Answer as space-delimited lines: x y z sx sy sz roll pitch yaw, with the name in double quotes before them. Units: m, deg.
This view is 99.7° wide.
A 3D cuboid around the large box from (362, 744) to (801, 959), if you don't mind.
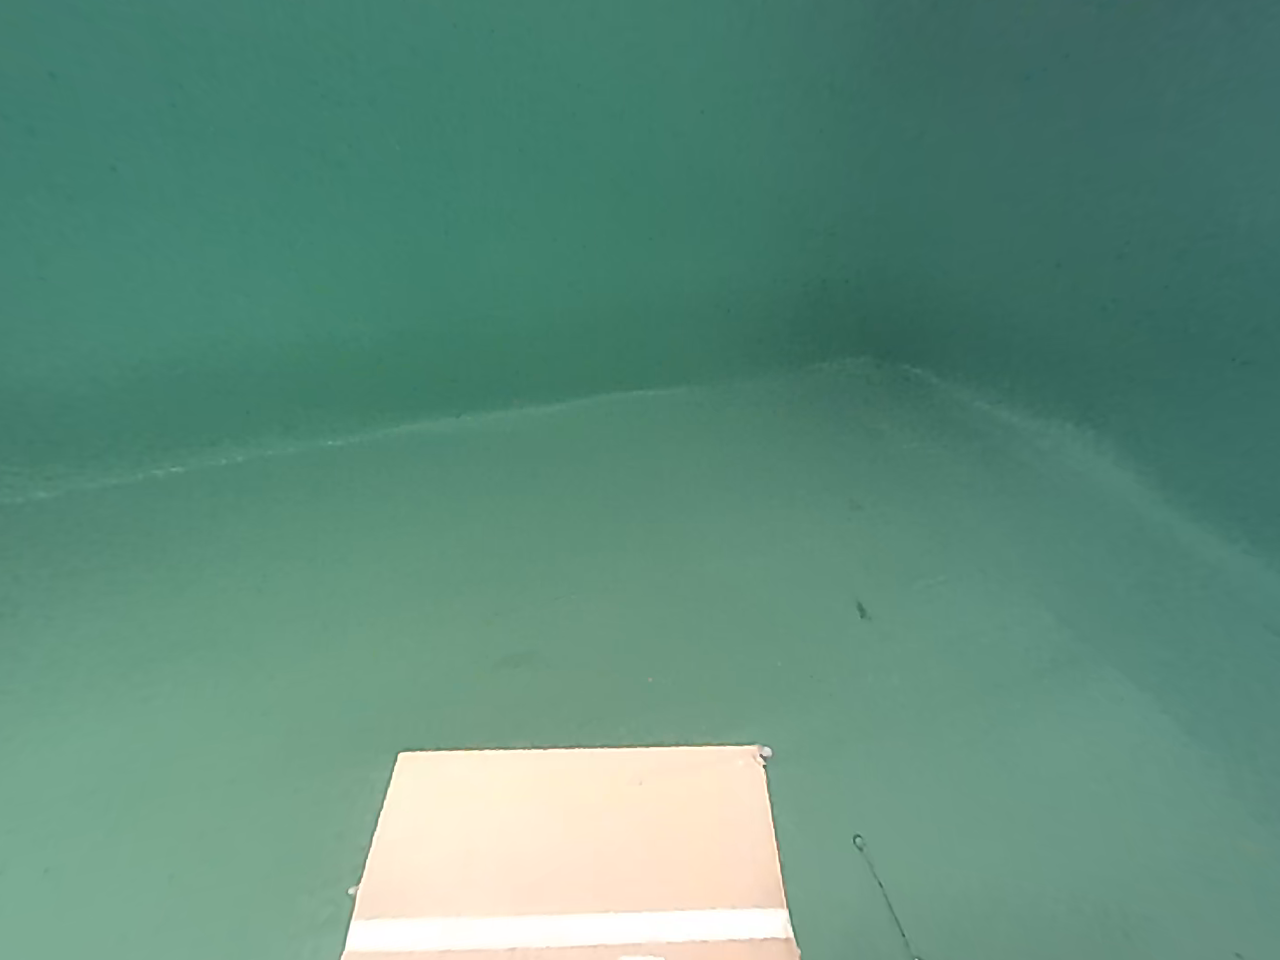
"large box" -0.055 0.520 0.609 0.408 0.320 0.320 -1 46 -1
